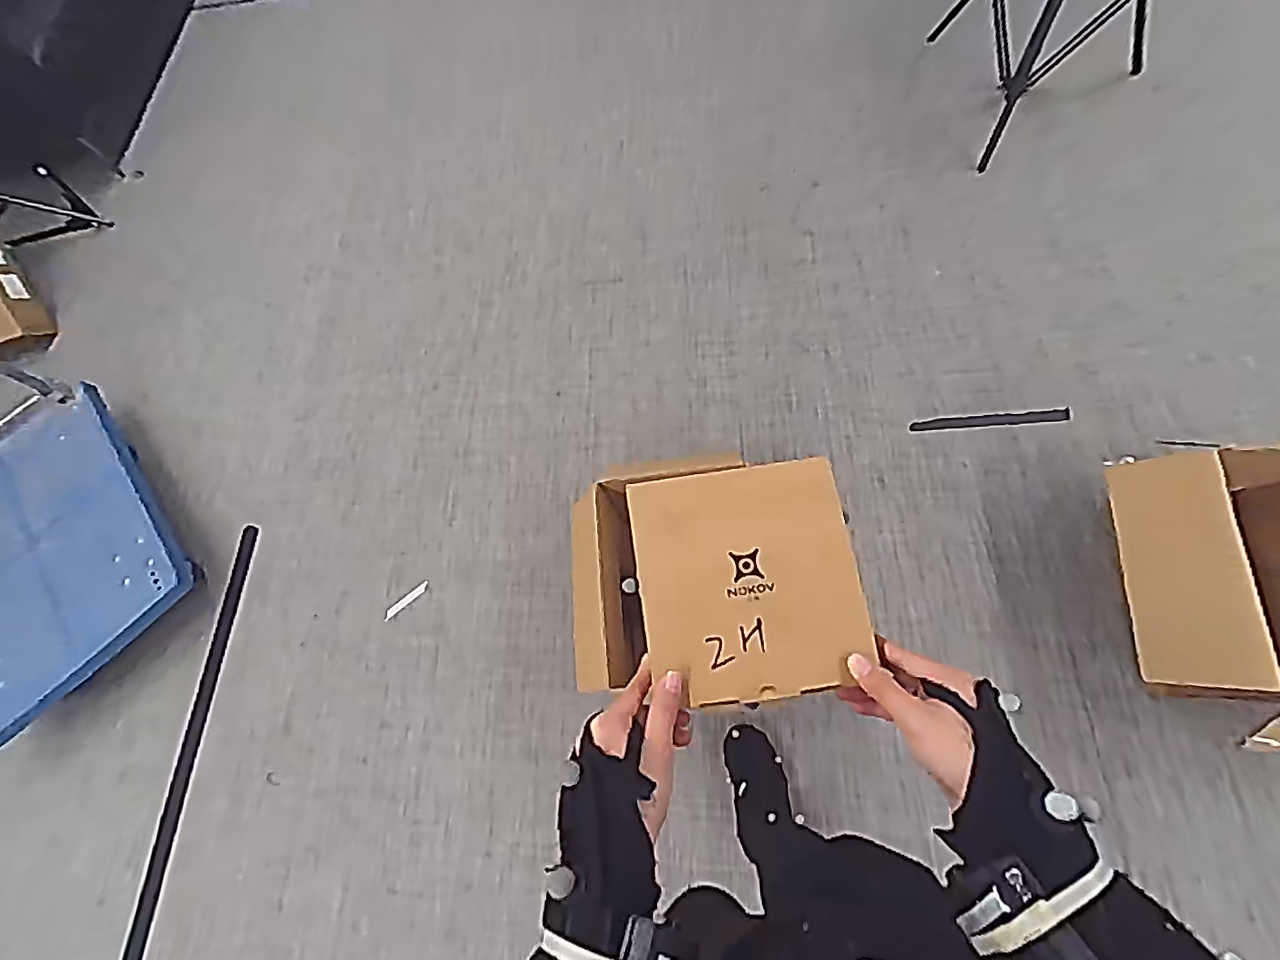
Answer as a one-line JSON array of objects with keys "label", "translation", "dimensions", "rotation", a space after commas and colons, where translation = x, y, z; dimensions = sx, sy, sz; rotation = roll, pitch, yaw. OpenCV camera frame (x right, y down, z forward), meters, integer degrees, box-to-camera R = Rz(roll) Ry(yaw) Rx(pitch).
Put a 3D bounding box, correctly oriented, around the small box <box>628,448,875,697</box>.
[{"label": "small box", "translation": [0.083, 0.090, 0.491], "dimensions": [0.168, 0.176, 0.179], "rotation": [-9, 73, 1]}]
